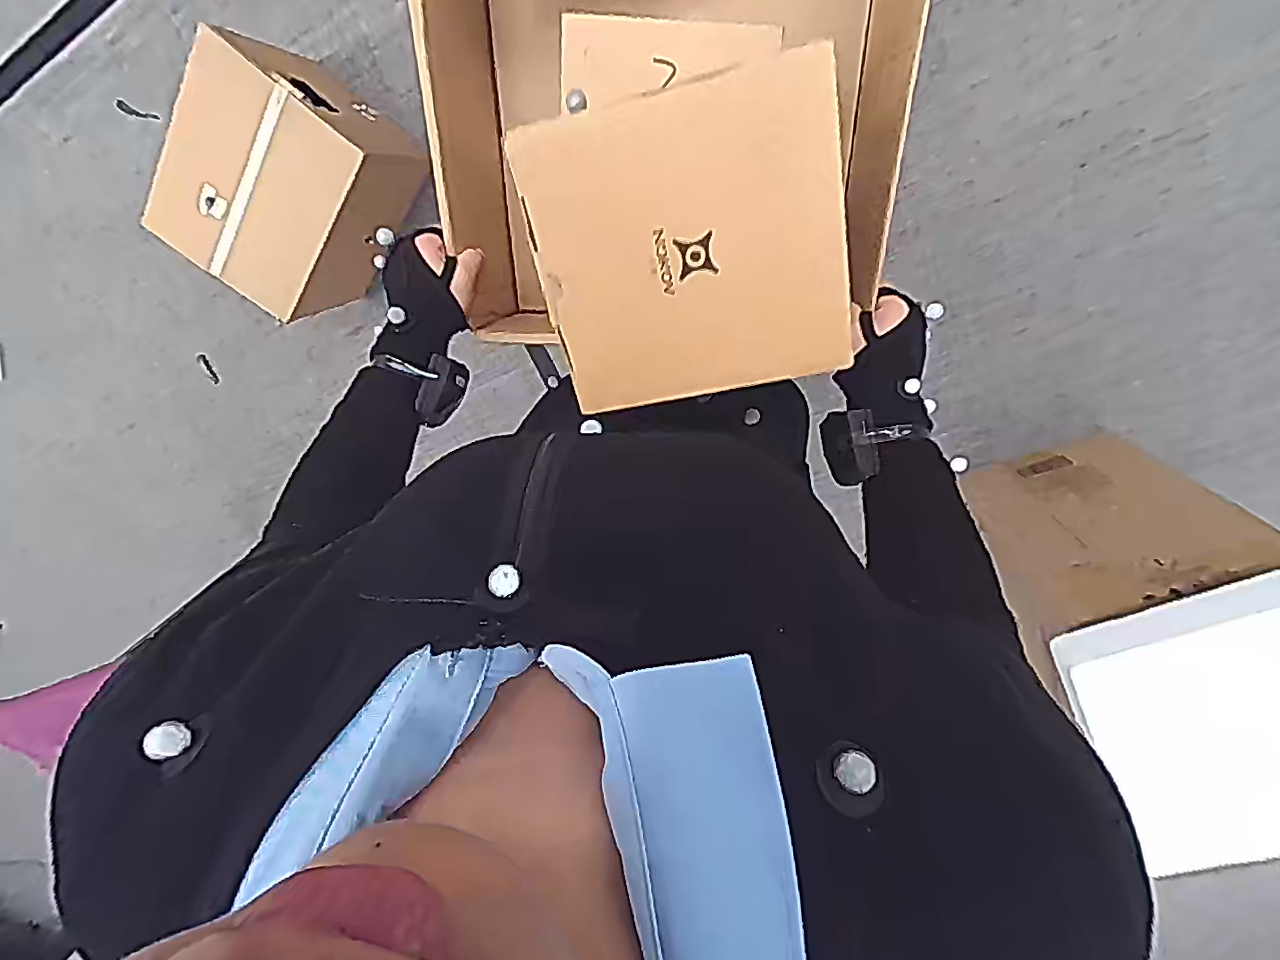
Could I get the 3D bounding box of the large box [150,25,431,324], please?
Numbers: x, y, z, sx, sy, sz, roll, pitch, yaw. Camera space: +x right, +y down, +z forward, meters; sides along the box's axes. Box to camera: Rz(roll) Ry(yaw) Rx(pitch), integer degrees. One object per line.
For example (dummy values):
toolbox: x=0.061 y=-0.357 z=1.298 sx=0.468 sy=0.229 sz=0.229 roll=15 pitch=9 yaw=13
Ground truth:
large box: x=-0.719 y=-0.617 z=1.149 sx=0.320 sy=0.320 sz=0.408 roll=37 pitch=116 yaw=-13
